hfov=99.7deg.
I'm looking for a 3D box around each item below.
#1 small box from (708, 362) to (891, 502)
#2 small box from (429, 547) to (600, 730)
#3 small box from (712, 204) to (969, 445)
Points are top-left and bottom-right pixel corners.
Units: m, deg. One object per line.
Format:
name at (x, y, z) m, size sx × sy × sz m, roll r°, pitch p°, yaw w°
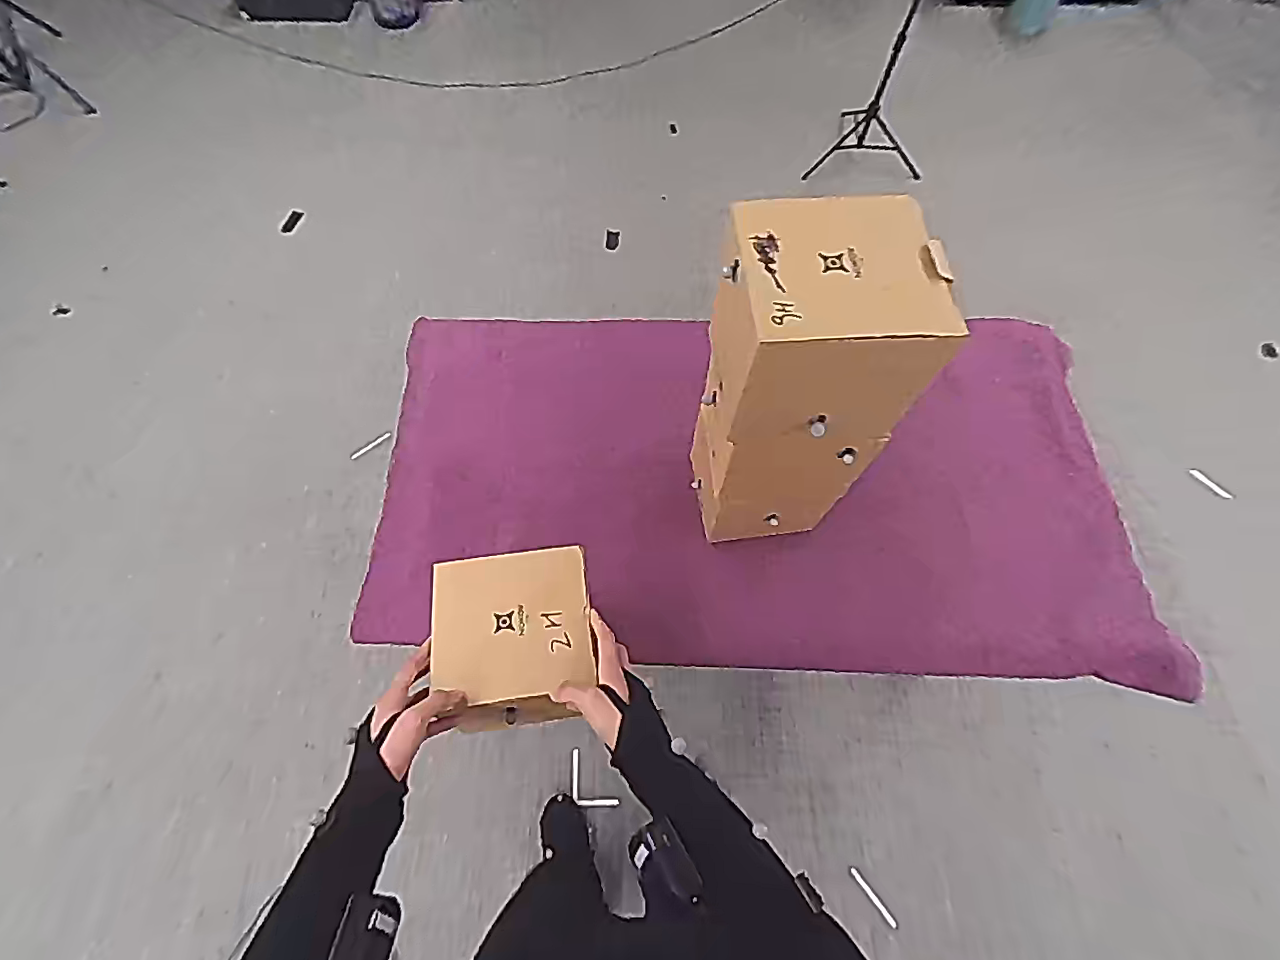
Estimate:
small box at (0.184, -0.077, 0.690) m, size 0.179 × 0.176 × 0.168 m, roll -2°, pitch 65°, yaw -2°
small box at (-0.145, 0.200, 0.668) m, size 0.179 × 0.176 × 0.168 m, roll -6°, pitch 59°, yaw -8°
small box at (0.177, -0.144, 0.540) m, size 0.179 × 0.176 × 0.168 m, roll -1°, pitch 64°, yaw -2°
